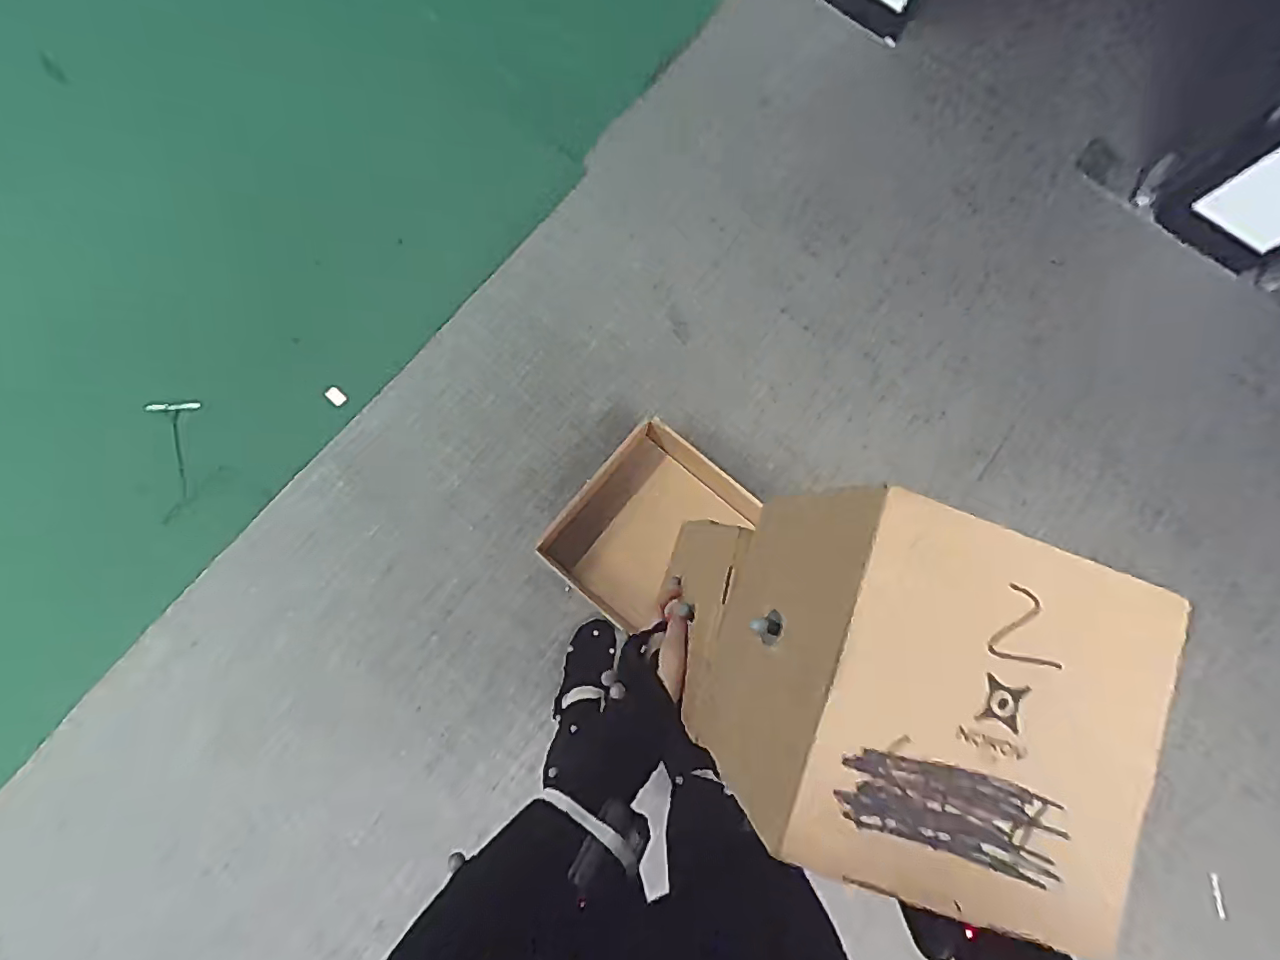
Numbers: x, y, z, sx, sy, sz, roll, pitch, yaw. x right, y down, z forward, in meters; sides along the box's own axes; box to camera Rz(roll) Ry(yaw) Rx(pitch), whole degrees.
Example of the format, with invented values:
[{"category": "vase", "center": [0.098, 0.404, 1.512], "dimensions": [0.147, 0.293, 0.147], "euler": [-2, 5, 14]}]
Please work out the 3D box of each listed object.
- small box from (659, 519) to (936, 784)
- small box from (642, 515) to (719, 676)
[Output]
[{"category": "small box", "center": [0.121, 0.134, 0.483], "dimensions": [0.179, 0.176, 0.168], "euler": [13, 85, -4]}, {"category": "small box", "center": [0.107, 0.149, 0.647], "dimensions": [0.168, 0.176, 0.179], "euler": [19, 85, -3]}]
